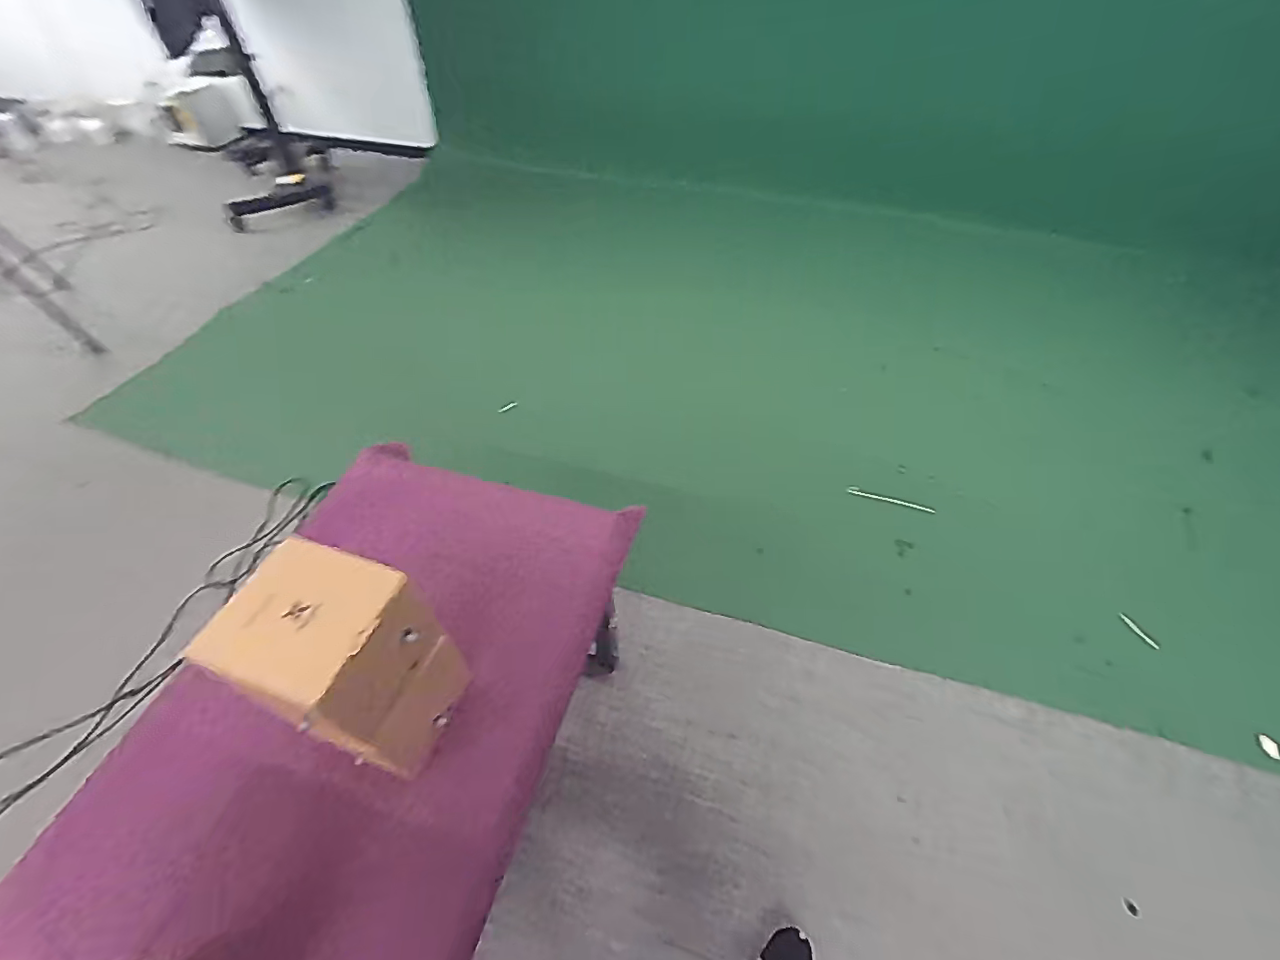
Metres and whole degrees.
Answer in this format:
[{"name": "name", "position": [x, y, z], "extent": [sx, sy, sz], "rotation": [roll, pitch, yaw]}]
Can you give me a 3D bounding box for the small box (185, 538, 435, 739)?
[{"name": "small box", "position": [-0.390, 0.204, 0.680], "extent": [0.179, 0.176, 0.168], "rotation": [15, 51, 12]}]
